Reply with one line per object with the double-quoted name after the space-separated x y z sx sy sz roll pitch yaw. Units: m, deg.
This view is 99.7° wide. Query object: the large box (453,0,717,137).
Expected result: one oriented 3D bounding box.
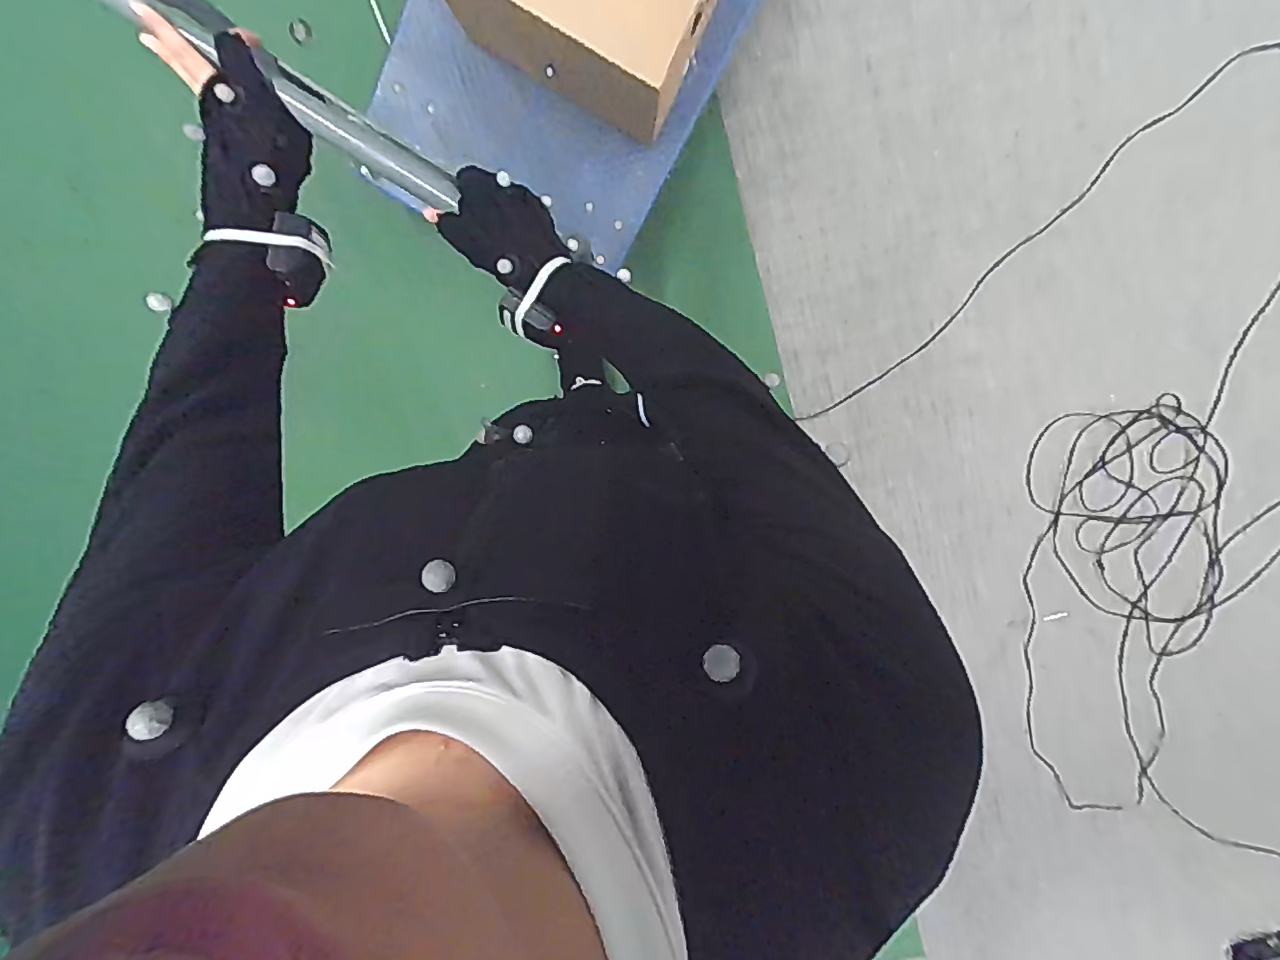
-0.077 -0.857 0.894 0.408 0.320 0.320 26 105 -9 "large box"
